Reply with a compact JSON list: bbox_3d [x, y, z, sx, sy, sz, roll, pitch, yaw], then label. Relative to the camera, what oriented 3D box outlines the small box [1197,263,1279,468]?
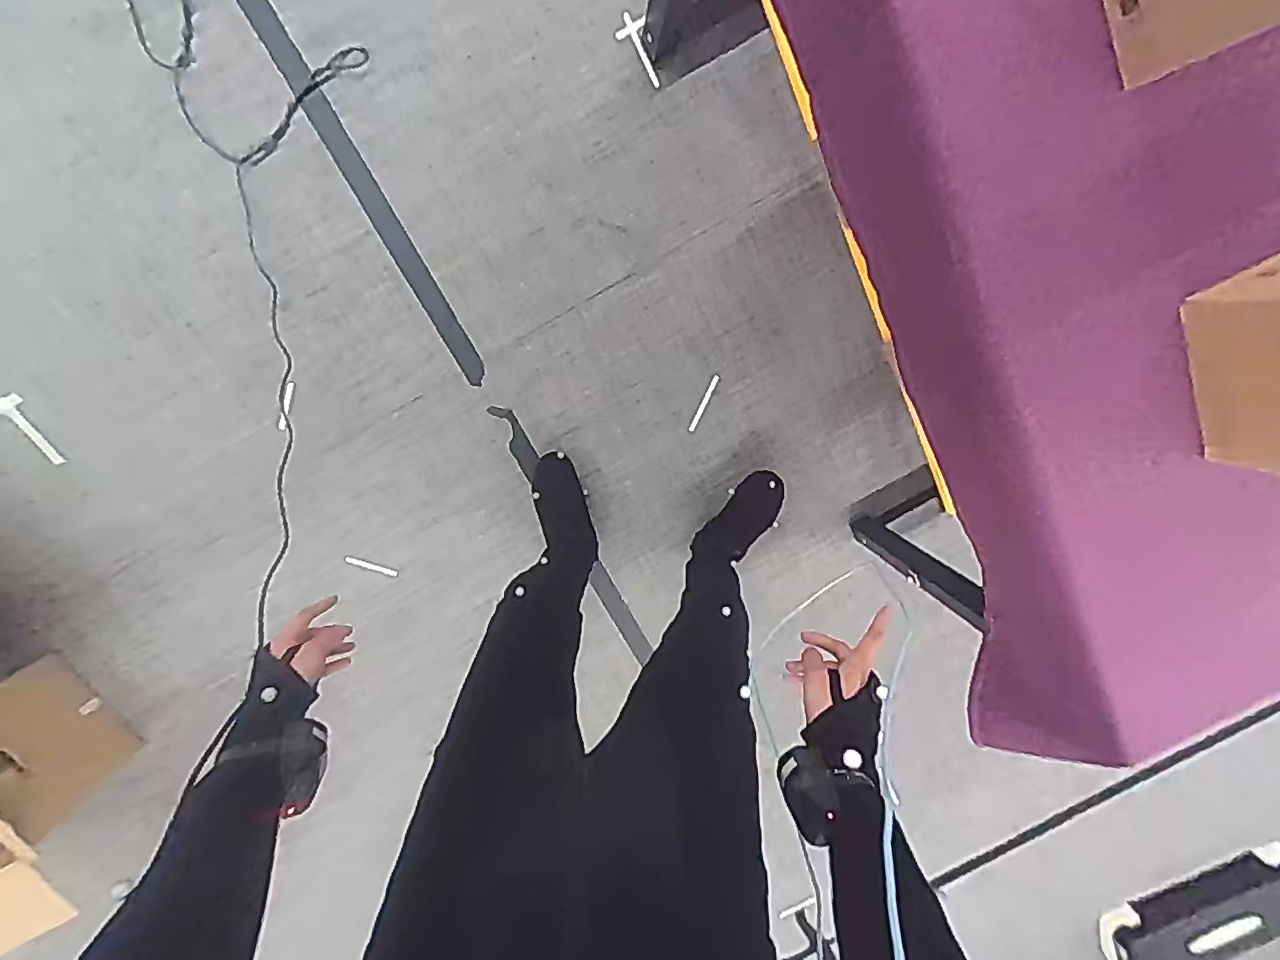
[{"bbox_3d":[0.638,-0.105,0.455,0.168,0.176,0.179,-26,105,2],"label":"small box"}]

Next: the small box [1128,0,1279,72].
[{"bbox_3d":[0.460,-0.418,0.349,0.179,0.176,0.168,-30,107,3],"label":"small box"}]
